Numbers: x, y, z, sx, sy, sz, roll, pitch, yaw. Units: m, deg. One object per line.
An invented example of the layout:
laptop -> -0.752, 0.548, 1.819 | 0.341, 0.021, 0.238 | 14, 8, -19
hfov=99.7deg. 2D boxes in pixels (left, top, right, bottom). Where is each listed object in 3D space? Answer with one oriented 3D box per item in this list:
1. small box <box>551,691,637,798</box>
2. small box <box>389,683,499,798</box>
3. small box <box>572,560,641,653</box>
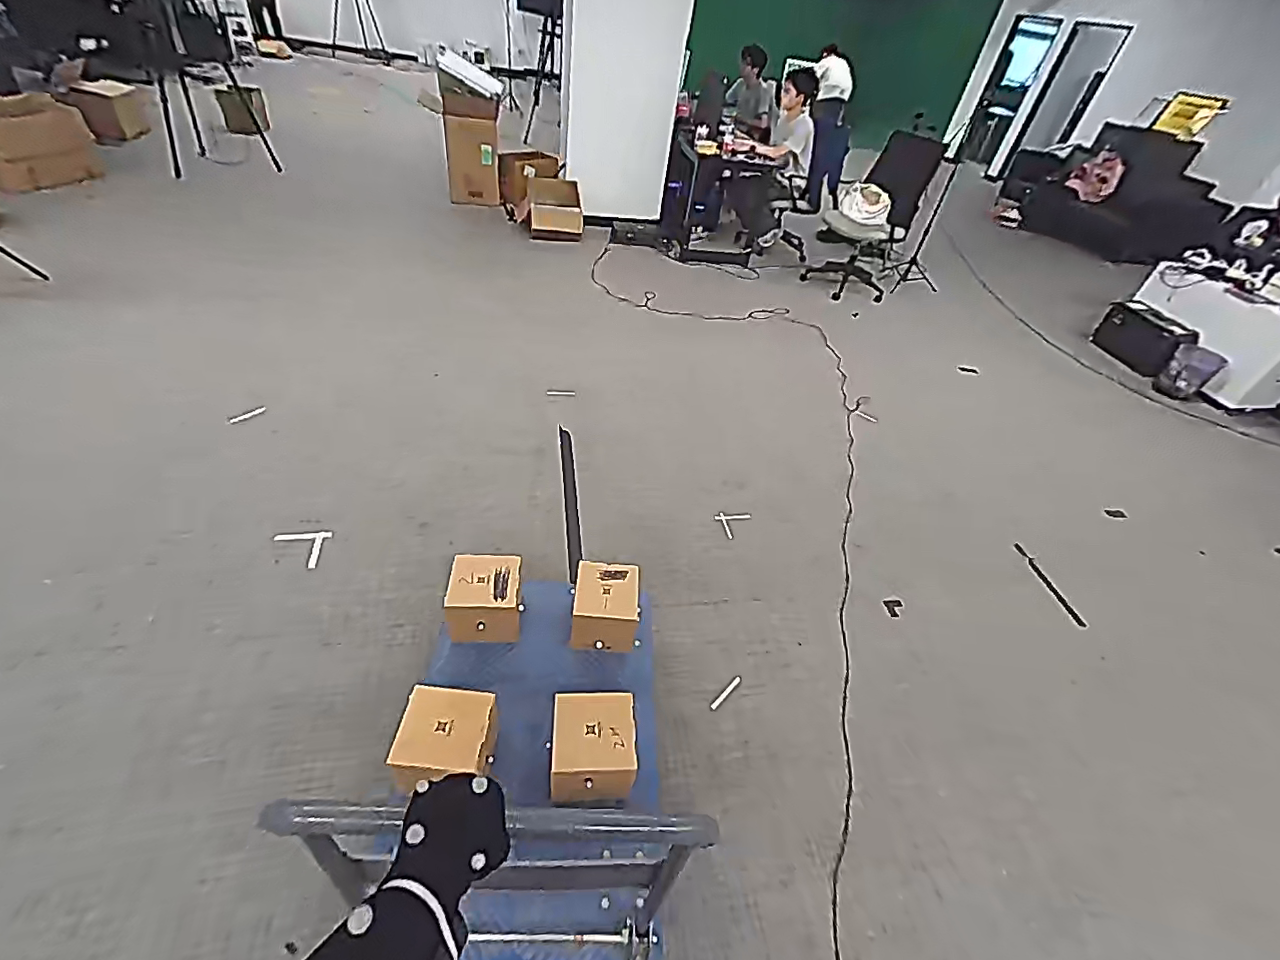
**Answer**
small box -> -0.104, 0.587, 1.198 | 0.179, 0.176, 0.168 | 3, 42, -7
small box -> -0.411, 0.564, 1.165 | 0.179, 0.176, 0.168 | 8, 41, -4
small box -> -0.092, 0.344, 1.473 | 0.168, 0.176, 0.179 | 6, 43, -4
